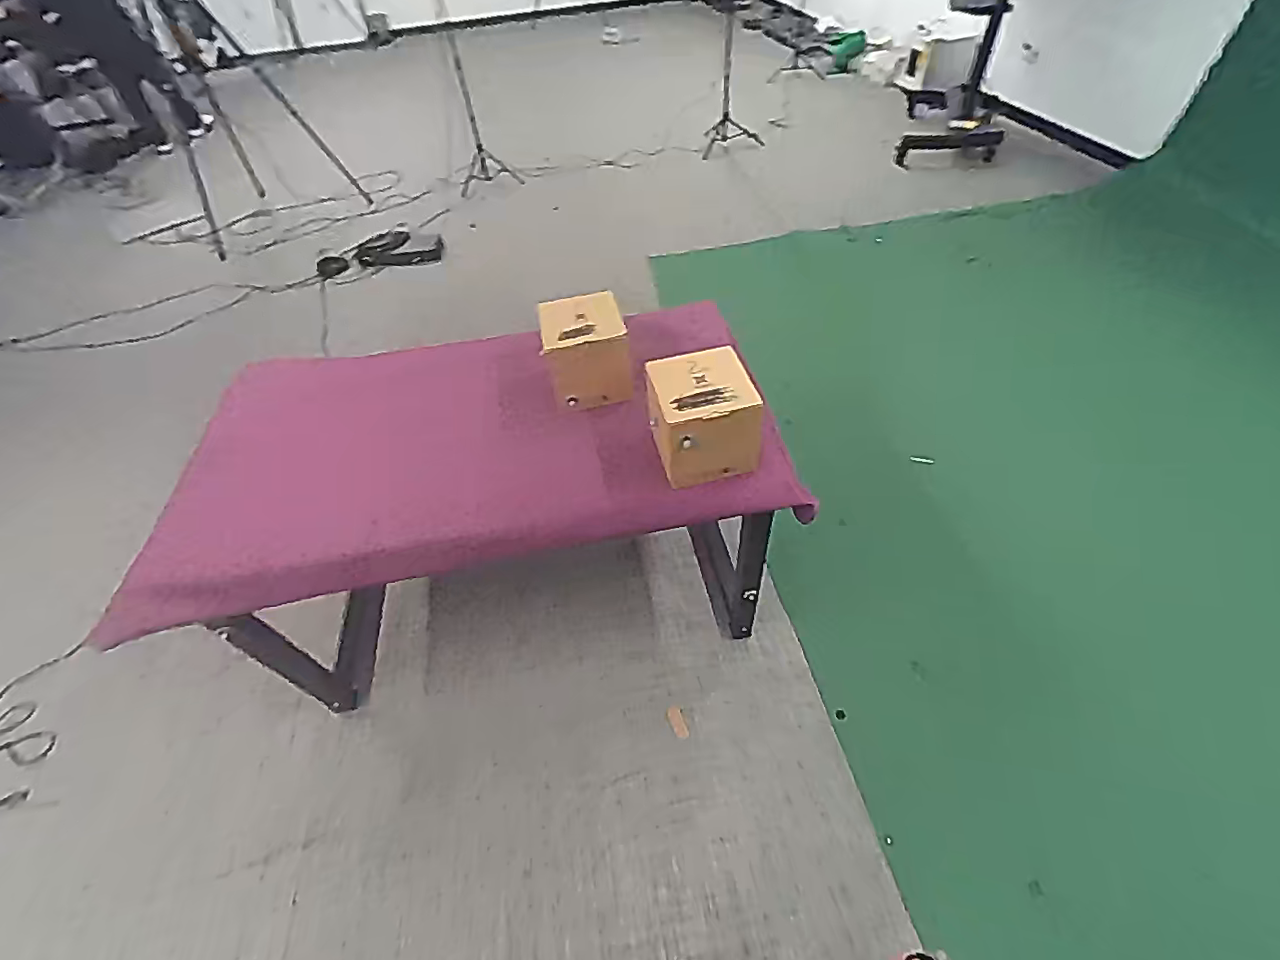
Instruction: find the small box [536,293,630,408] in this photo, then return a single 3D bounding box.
[{"bbox_3d":[-0.120,-0.270,1.160,0.168,0.176,0.179,-12,49,-5],"label":"small box"}]
